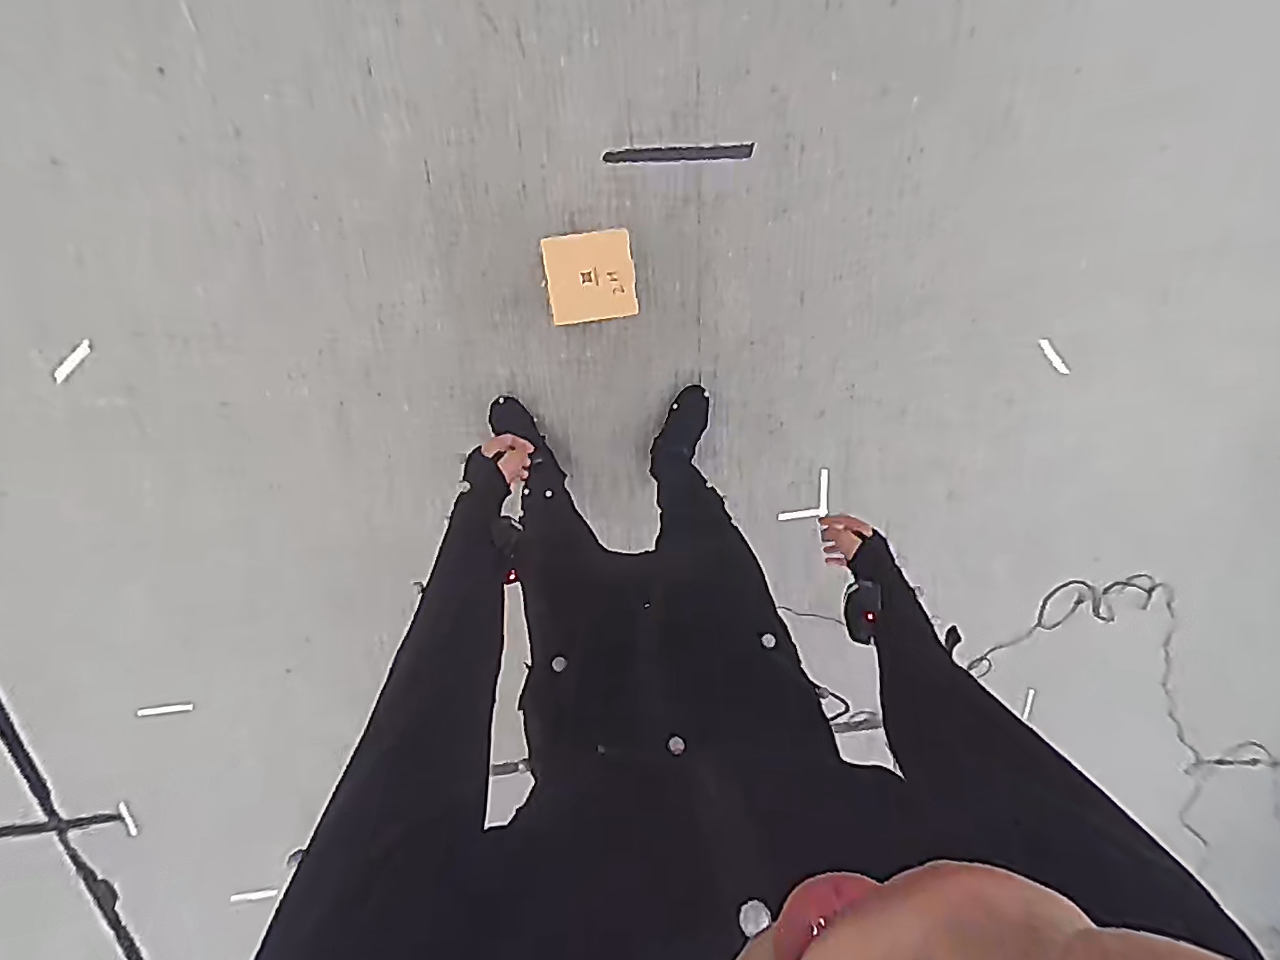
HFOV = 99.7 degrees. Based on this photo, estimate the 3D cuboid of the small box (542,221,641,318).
[{"bbox_3d":[-0.099,-0.436,1.134,0.179,0.176,0.168,-9,110,-4],"label":"small box"}]
